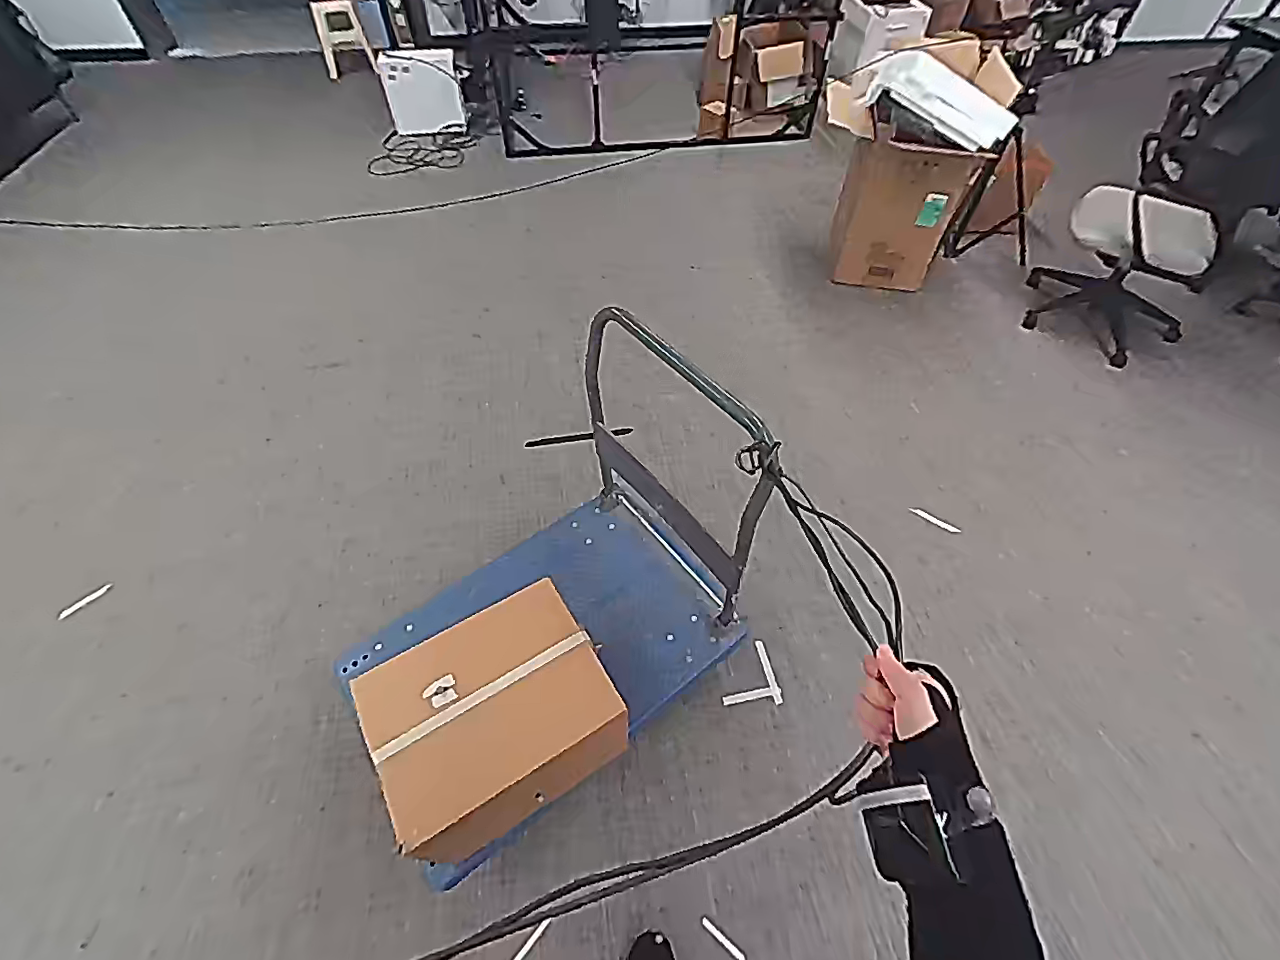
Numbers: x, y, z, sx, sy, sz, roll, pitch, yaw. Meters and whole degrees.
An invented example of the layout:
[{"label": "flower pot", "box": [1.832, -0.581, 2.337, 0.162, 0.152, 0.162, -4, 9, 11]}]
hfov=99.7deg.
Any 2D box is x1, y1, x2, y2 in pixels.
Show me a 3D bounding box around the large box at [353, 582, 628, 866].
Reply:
[{"label": "large box", "box": [-0.270, 0.481, 1.076, 0.408, 0.320, 0.320, -26, 56, -19]}]
